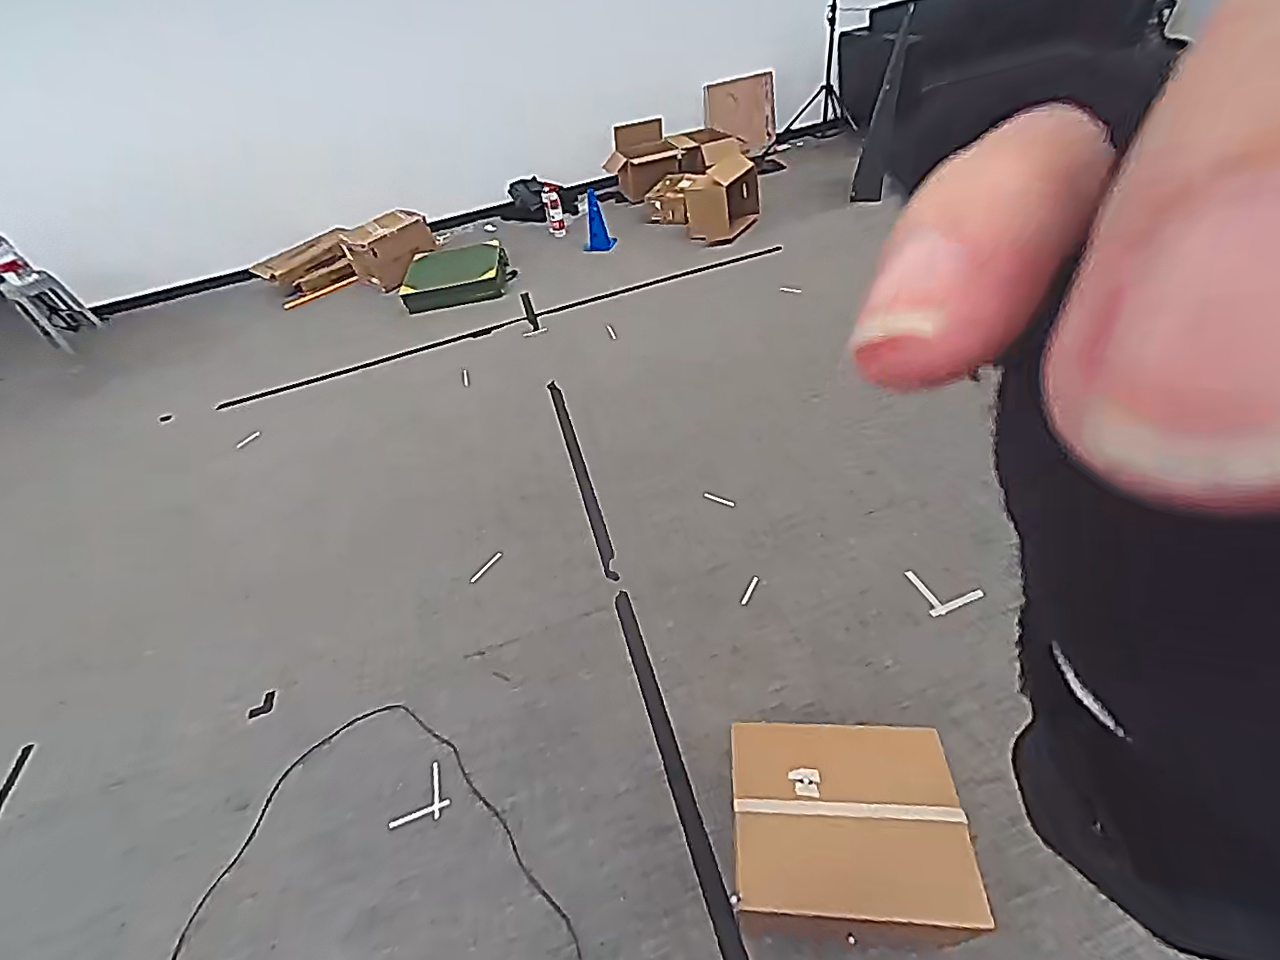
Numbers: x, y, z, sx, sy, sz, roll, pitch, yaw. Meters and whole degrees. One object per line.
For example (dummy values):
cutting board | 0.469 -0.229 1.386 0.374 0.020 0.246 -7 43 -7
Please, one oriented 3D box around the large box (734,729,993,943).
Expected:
large box | 0.410 0.726 1.105 0.408 0.320 0.320 -4 44 10
